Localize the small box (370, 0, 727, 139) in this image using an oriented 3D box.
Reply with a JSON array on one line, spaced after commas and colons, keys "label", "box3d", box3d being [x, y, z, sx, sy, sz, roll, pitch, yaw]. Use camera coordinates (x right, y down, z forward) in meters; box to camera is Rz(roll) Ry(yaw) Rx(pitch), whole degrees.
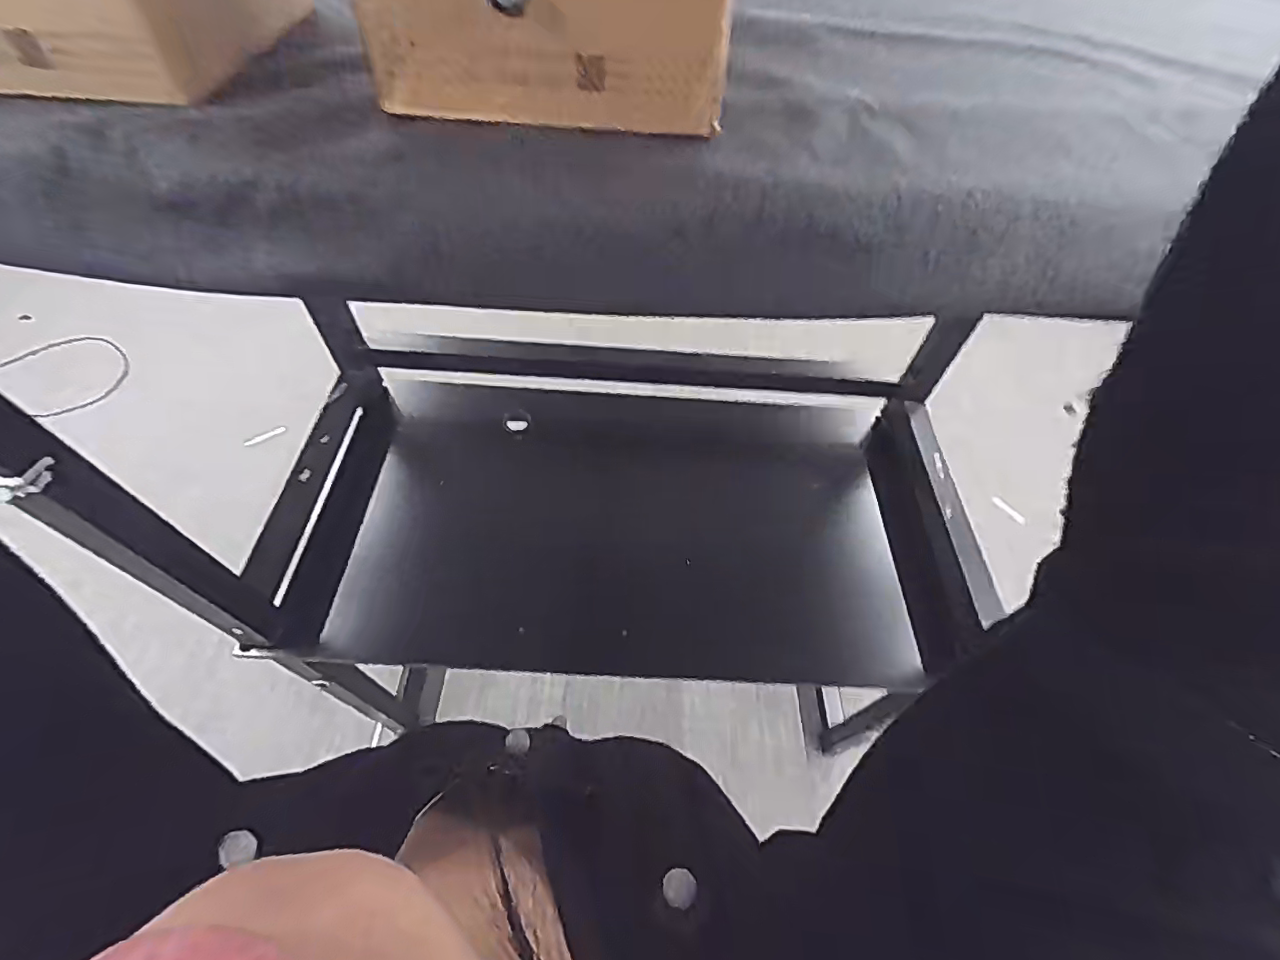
[{"label": "small box", "box3d": [-0.039, -0.294, 0.259, 0.168, 0.176, 0.179, 3, 53, -2]}]
